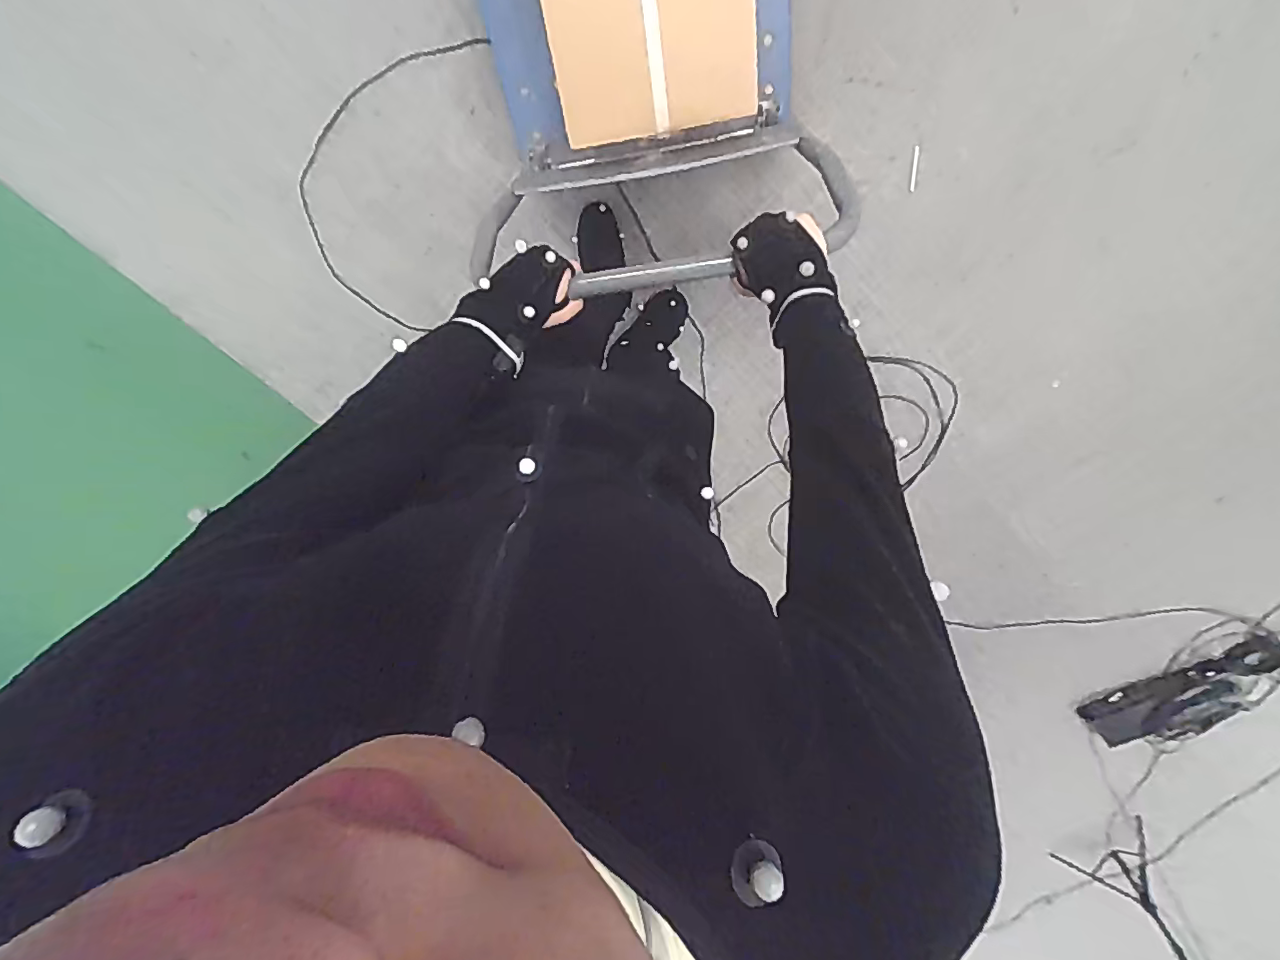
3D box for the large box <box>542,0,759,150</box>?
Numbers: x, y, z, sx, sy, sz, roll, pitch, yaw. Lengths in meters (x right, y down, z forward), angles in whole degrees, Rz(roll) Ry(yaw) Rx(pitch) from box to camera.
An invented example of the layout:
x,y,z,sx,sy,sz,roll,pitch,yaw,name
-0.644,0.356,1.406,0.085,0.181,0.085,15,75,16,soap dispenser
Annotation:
x,y,z,sx,sy,sz,roll,pitch,yaw,name
0.013,-0.814,0.896,0.320,0.320,0.408,-7,125,6,large box
